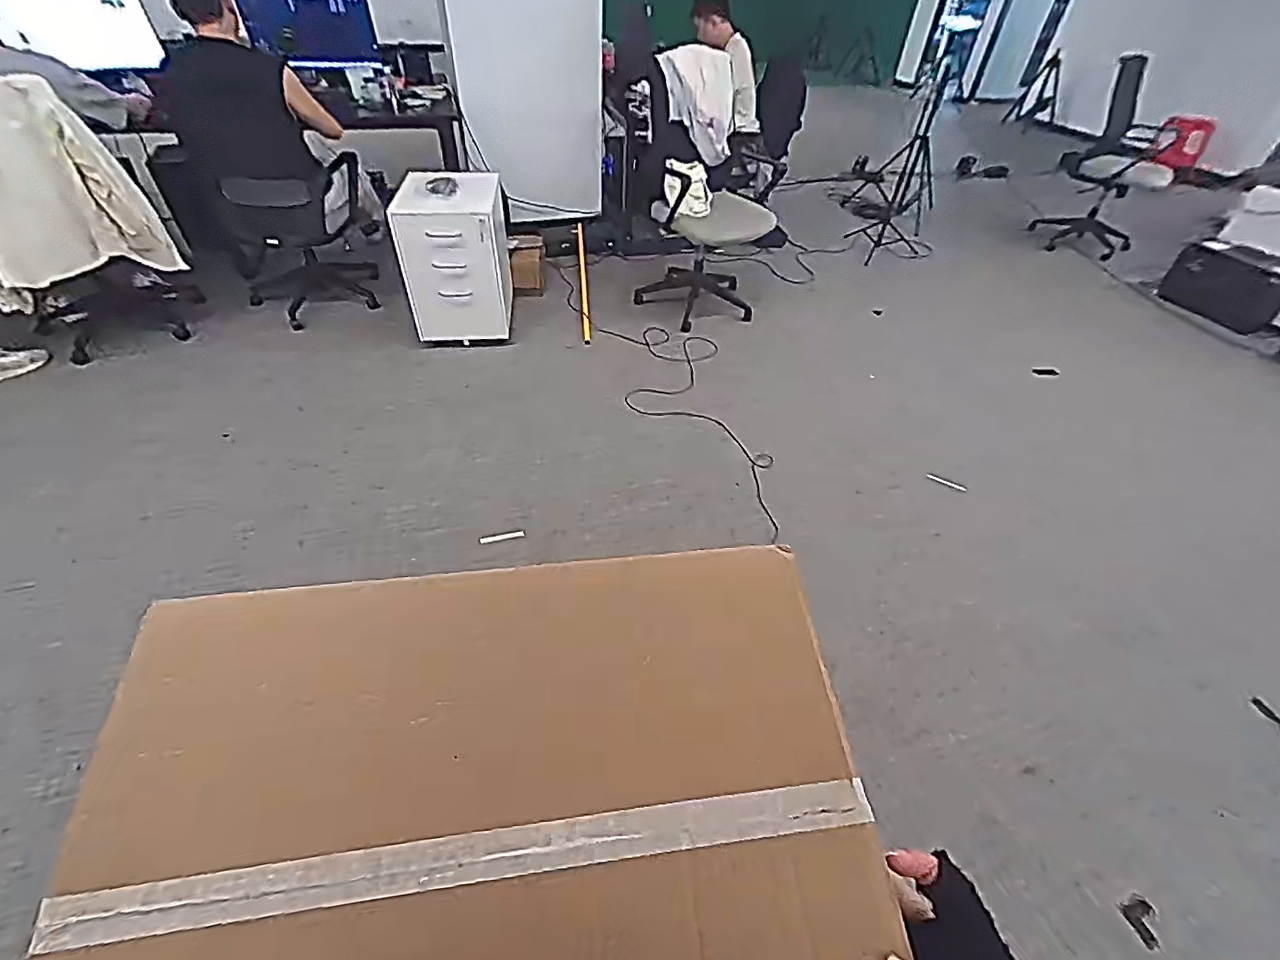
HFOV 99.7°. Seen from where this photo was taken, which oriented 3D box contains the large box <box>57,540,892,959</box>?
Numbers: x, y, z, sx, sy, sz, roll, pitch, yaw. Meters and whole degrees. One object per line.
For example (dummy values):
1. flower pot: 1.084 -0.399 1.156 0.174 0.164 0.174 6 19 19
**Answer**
1. large box: -0.089 0.267 0.416 0.408 0.320 0.320 -4 59 -7
